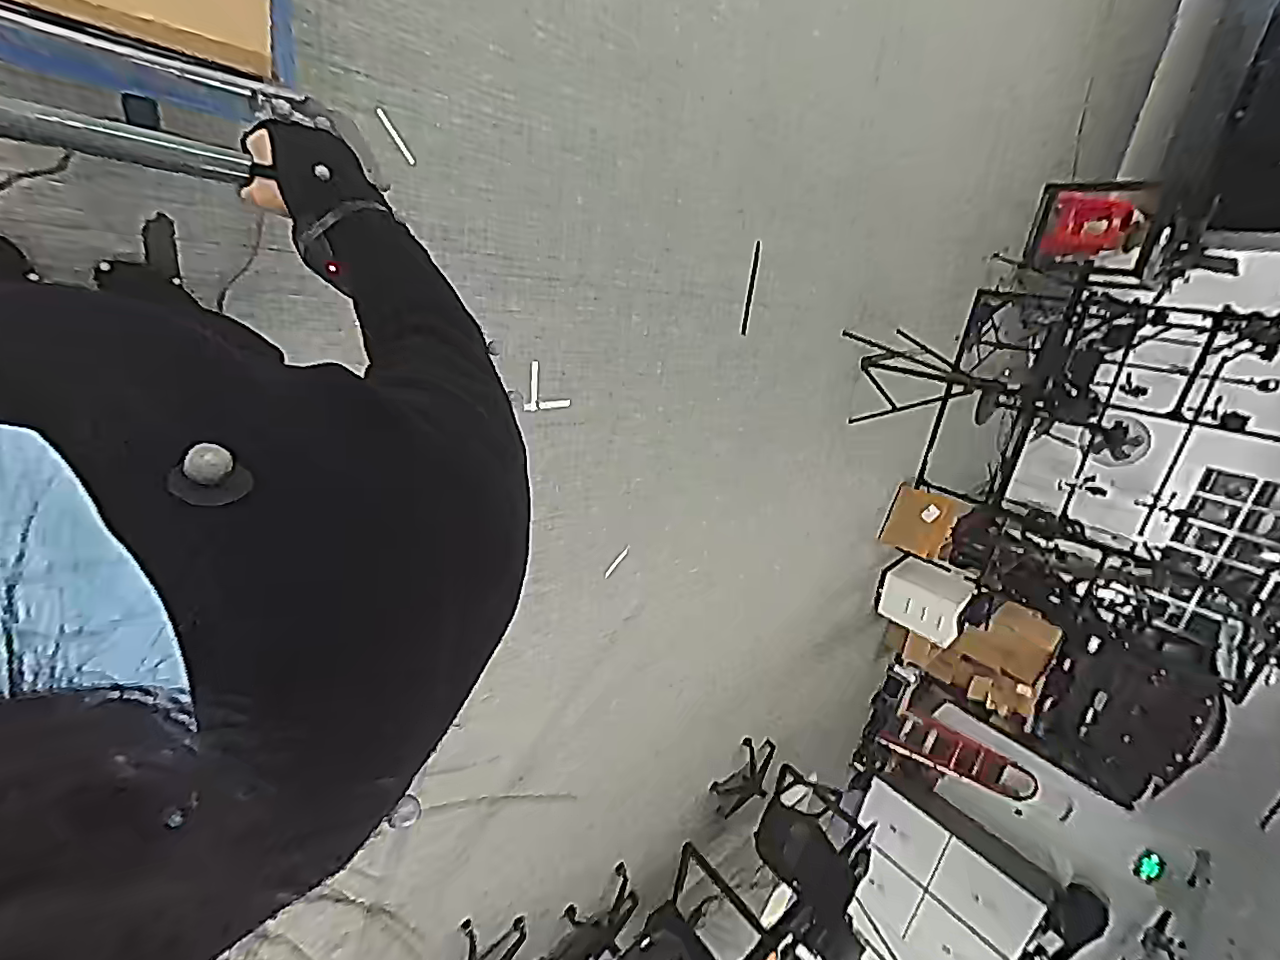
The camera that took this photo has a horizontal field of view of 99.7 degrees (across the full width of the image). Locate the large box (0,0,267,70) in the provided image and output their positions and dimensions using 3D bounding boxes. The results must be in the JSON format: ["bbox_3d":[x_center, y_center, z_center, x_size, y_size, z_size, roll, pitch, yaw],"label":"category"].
[{"bbox_3d":[-0.733,-0.753,0.655,0.408,0.320,0.320,-10,126,-42],"label":"large box"}]
